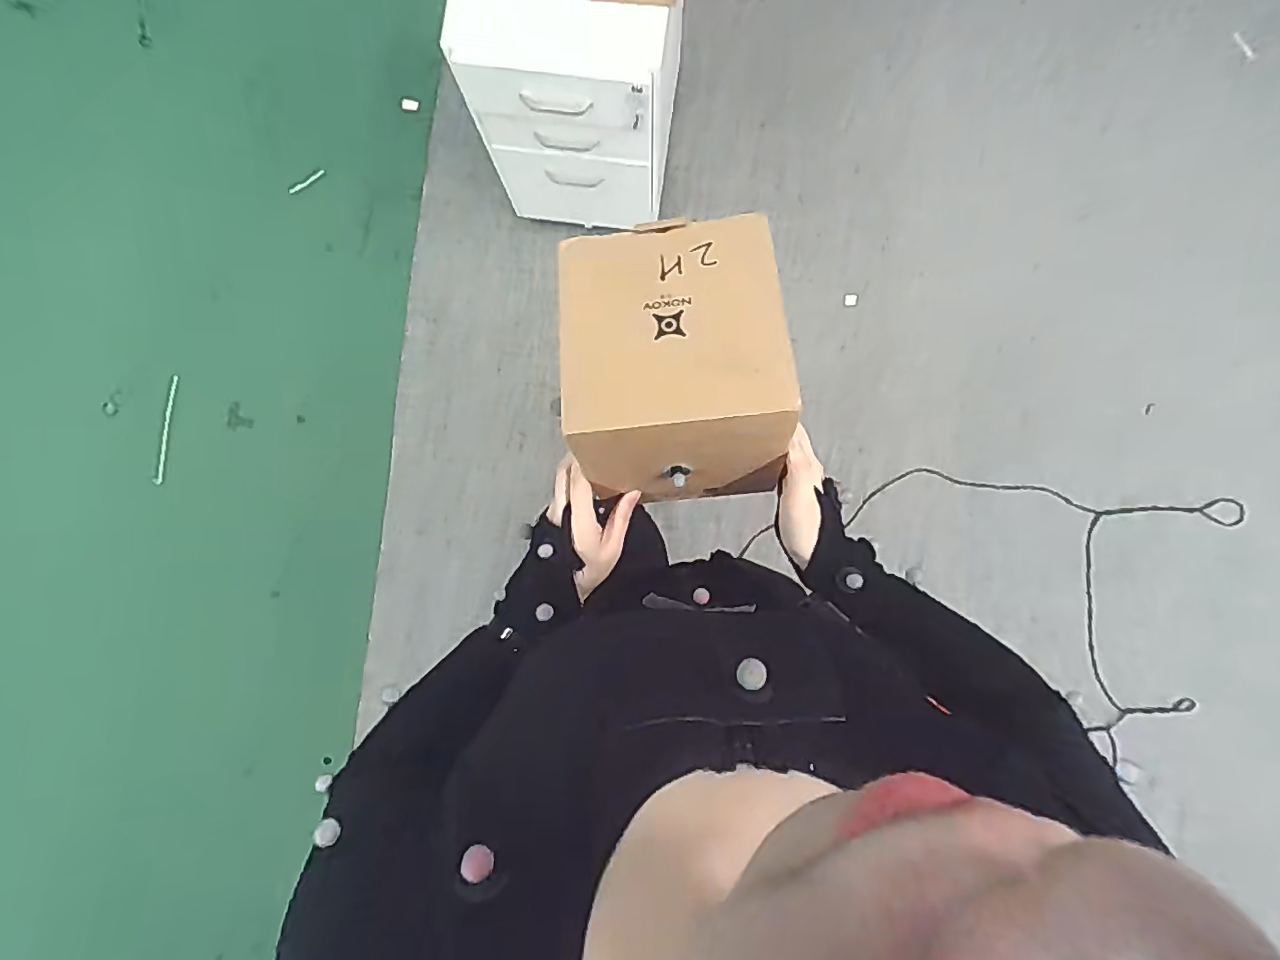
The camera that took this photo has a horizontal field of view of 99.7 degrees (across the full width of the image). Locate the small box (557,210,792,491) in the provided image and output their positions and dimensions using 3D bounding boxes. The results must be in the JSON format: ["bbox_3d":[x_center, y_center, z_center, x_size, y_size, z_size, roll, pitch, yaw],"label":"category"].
[{"bbox_3d":[0.029,-0.095,0.471,0.168,0.176,0.179,-5,69,5],"label":"small box"}]
